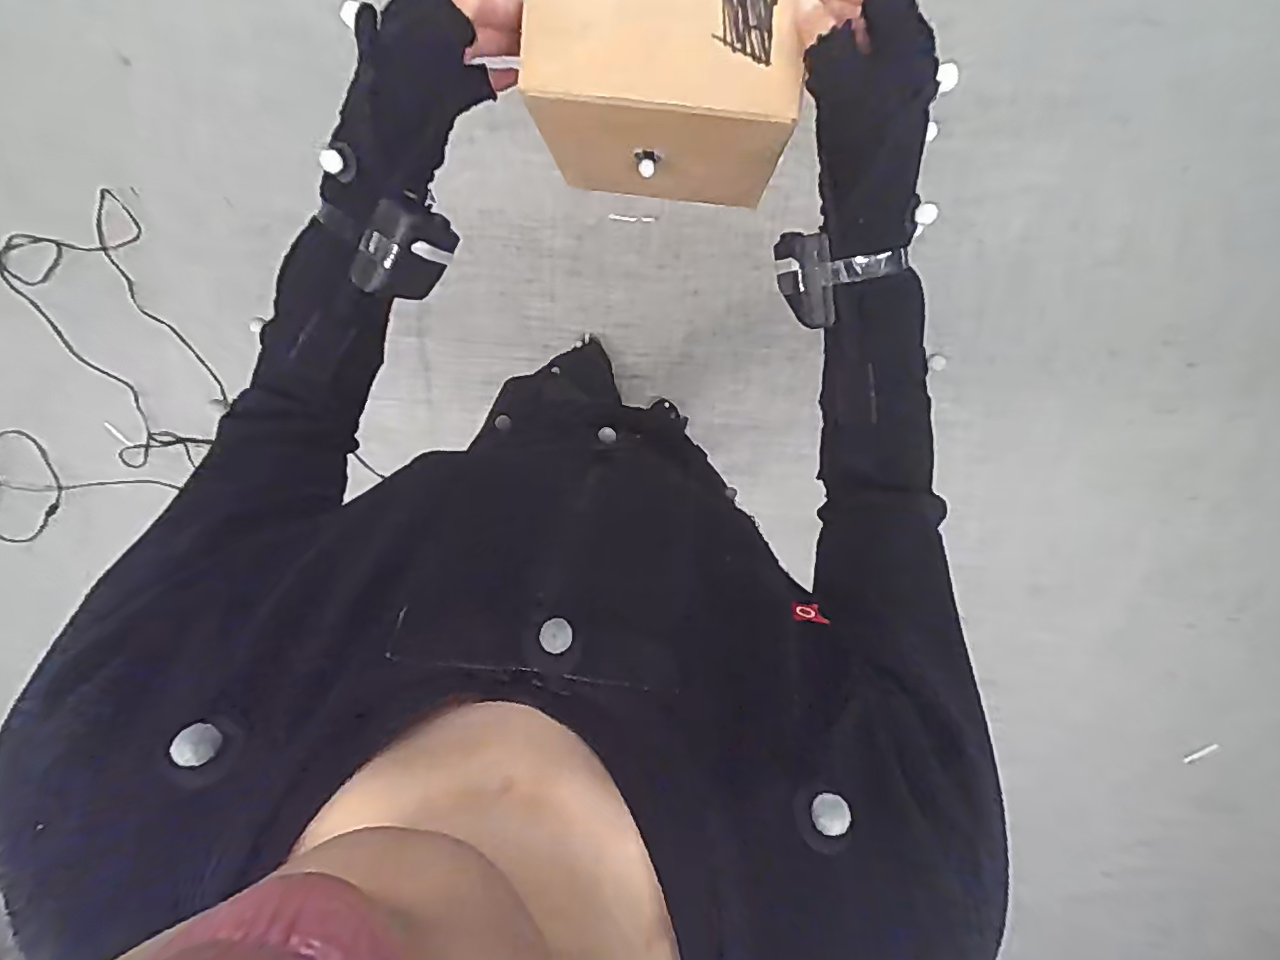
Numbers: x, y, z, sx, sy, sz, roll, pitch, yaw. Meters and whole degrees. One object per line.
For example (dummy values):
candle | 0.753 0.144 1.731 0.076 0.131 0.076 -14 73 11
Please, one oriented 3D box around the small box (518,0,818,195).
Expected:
small box | 0.025 -0.326 0.393 0.179 0.176 0.168 8 100 2
